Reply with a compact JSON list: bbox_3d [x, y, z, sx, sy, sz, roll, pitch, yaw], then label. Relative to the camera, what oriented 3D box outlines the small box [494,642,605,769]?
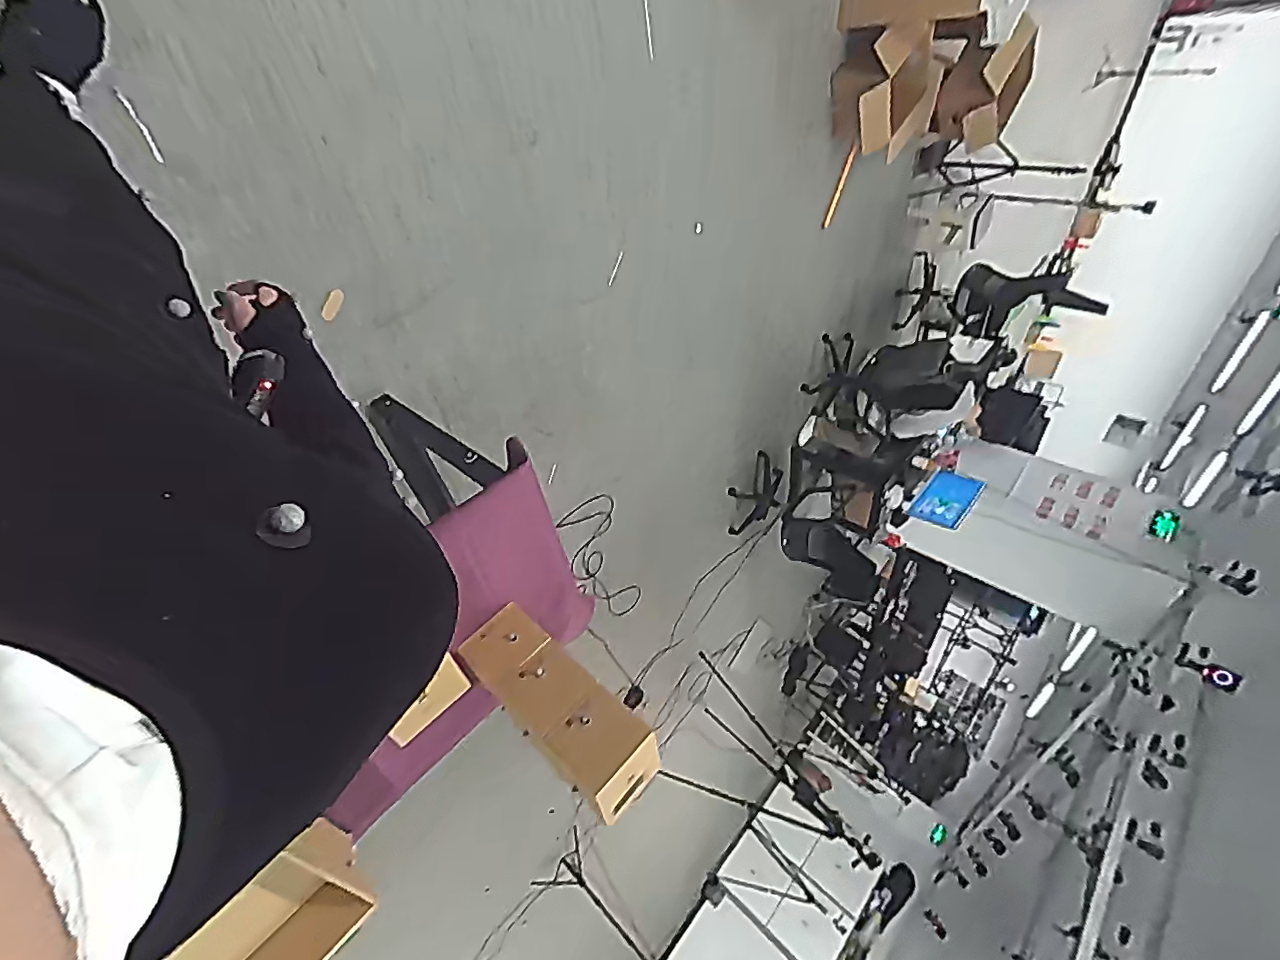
[{"bbox_3d":[-0.204,0.508,1.235,0.168,0.176,0.179,-37,138,-31],"label":"small box"}]

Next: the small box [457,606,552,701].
[{"bbox_3d":[-0.319,0.438,1.330,0.168,0.176,0.179,-41,141,-28],"label":"small box"}]

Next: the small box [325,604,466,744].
[{"bbox_3d":[-0.483,0.374,1.073,0.168,0.176,0.179,-38,141,-29],"label":"small box"}]
